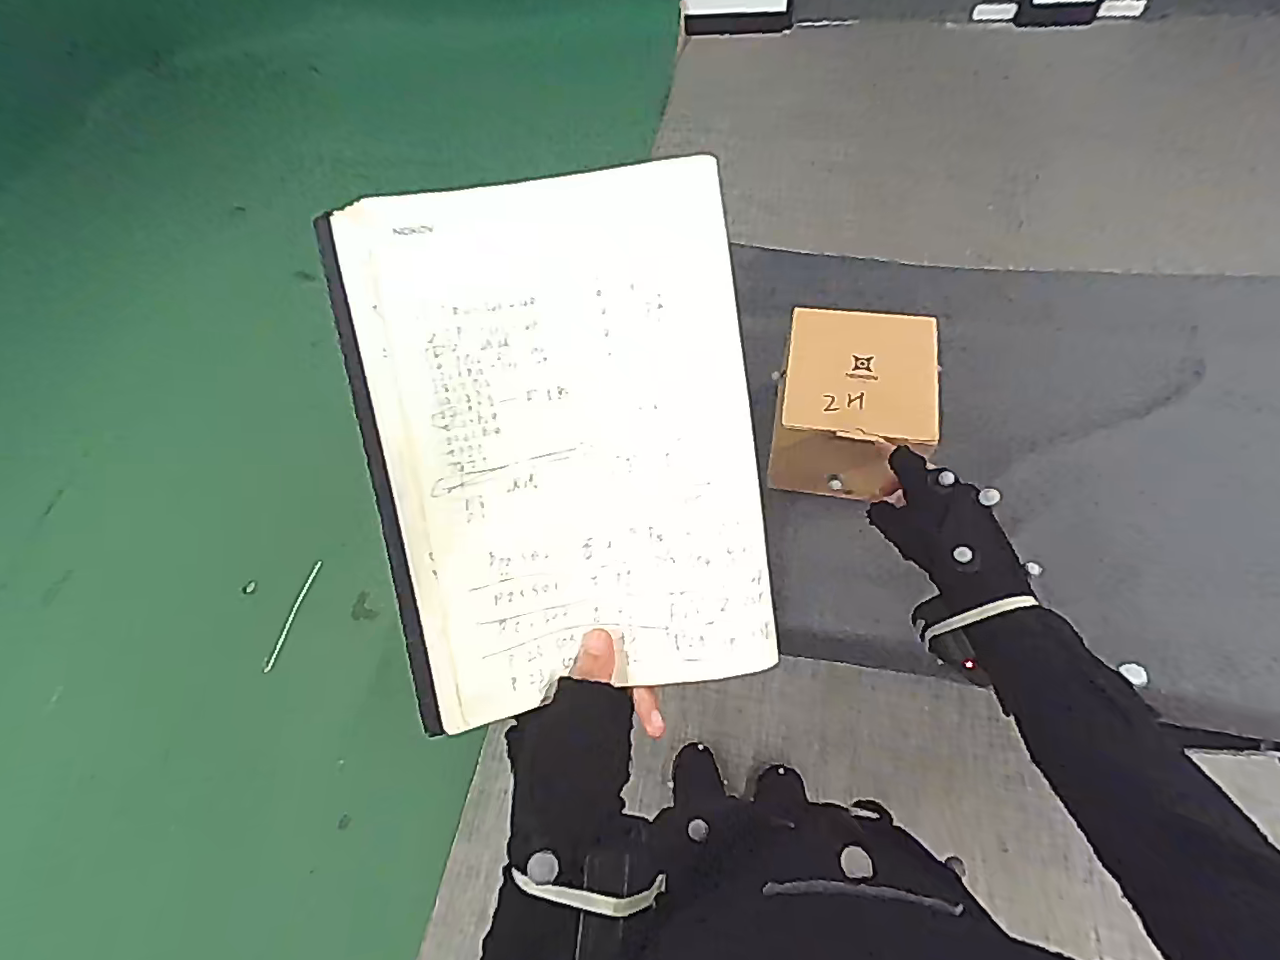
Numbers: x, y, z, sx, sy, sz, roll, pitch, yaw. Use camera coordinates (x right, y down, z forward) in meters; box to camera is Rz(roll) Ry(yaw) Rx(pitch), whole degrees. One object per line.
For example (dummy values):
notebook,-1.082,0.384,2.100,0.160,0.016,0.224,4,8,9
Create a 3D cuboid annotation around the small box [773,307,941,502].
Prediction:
small box,0.268,-0.092,0.695,0.168,0.176,0.179,8,66,11
